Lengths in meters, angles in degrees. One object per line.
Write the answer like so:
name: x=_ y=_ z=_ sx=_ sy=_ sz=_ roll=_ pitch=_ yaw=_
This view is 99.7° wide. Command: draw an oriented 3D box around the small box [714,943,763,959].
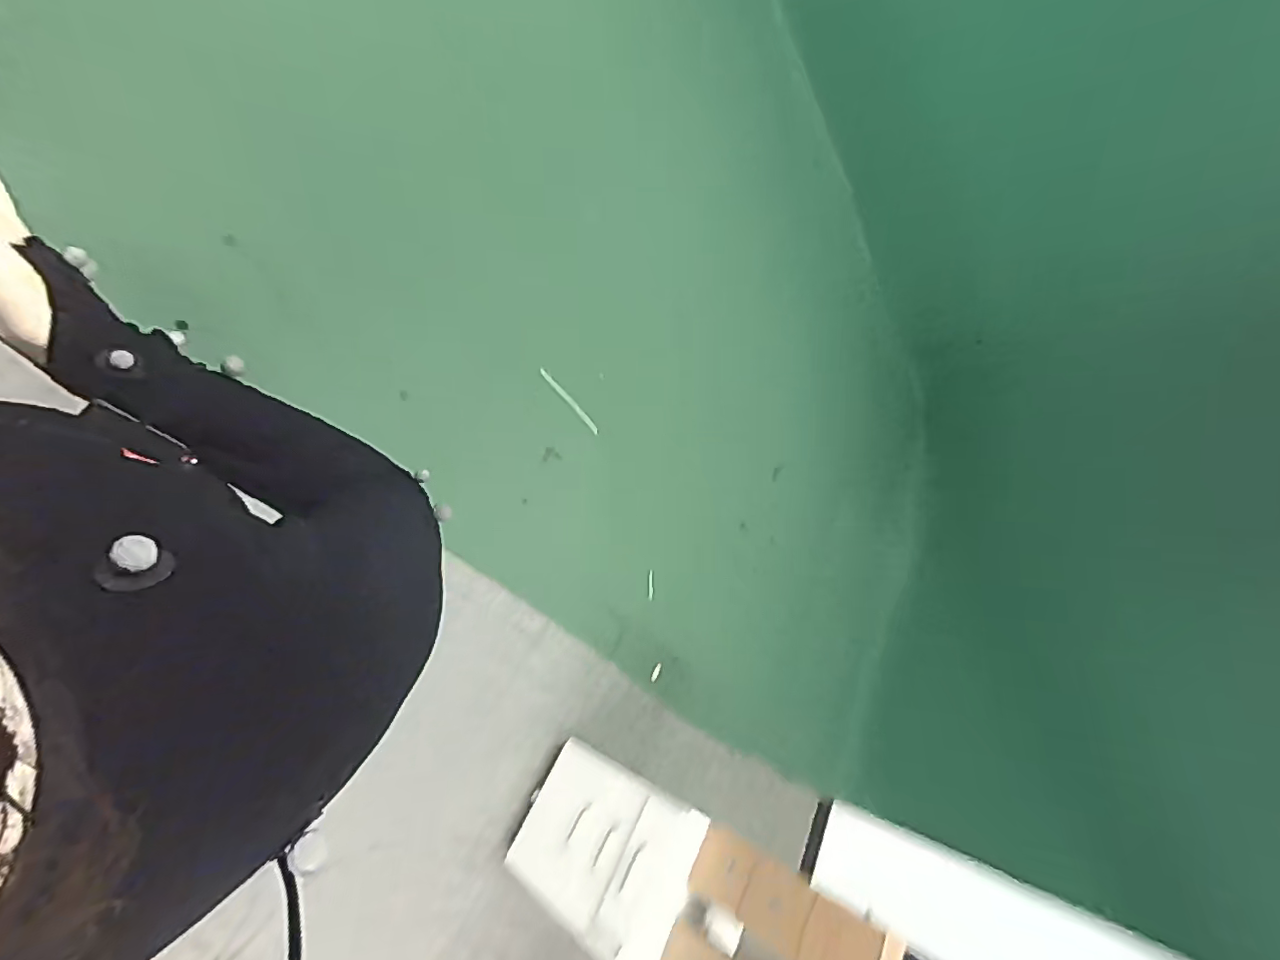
small box: x=0.261 y=1.269 z=1.310 sx=0.179 sy=0.176 sz=0.168 roll=47 pitch=60 yaw=-36

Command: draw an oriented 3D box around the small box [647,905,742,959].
small box: x=0.139 y=1.268 z=1.421 sx=0.168 sy=0.176 sz=0.179 roll=49 pitch=58 yaw=-34

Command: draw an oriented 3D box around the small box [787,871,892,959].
small box: x=0.474 y=1.077 z=1.287 sx=0.168 sy=0.176 sz=0.179 roll=49 pitch=60 yaw=-35
